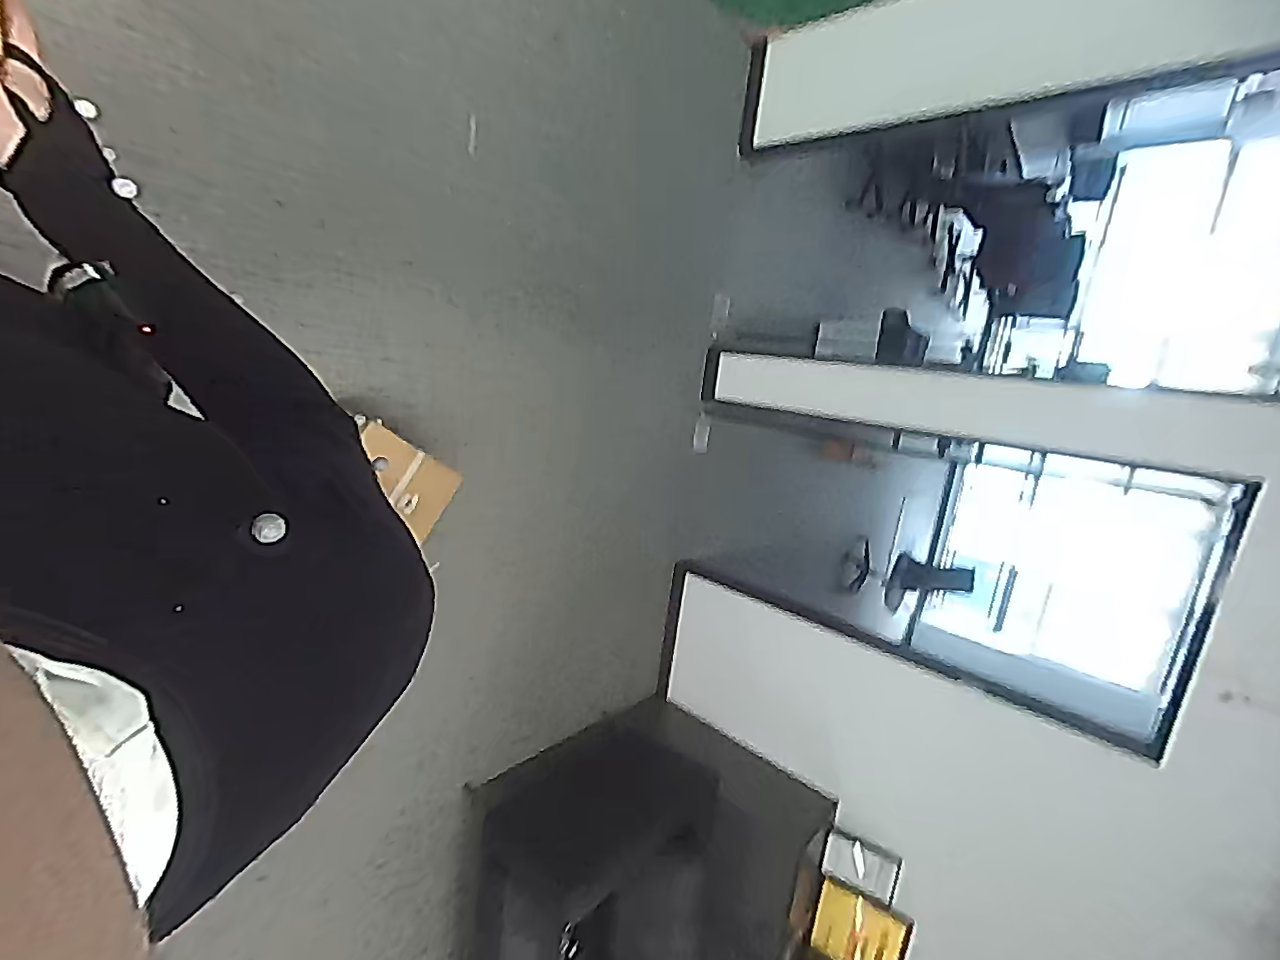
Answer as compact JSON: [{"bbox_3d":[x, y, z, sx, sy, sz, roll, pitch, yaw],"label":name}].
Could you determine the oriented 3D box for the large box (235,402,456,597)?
[{"bbox_3d":[-0.799,0.049,1.481,0.320,0.320,0.408,45,68,-50],"label":"large box"}]
